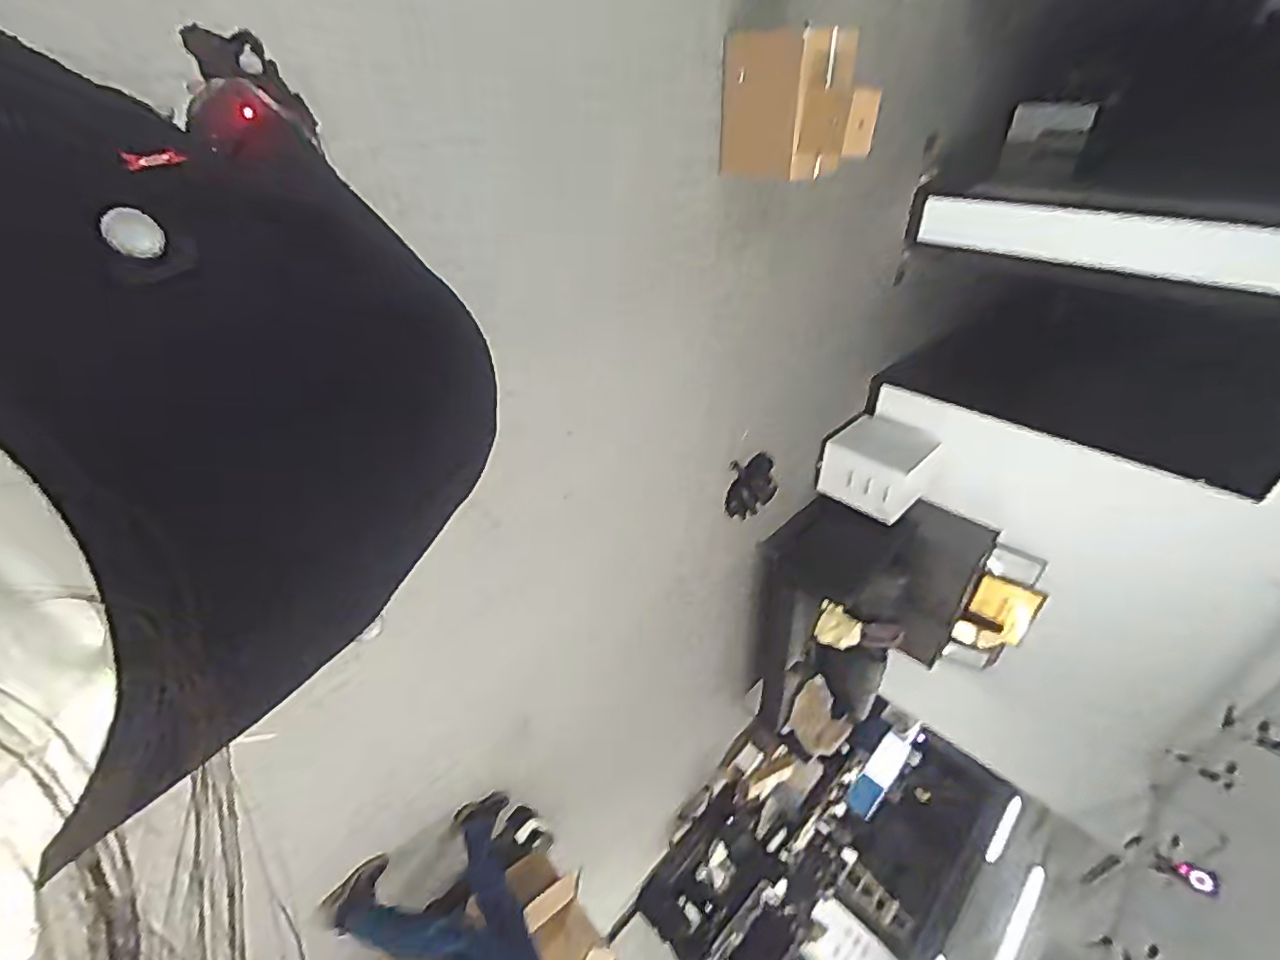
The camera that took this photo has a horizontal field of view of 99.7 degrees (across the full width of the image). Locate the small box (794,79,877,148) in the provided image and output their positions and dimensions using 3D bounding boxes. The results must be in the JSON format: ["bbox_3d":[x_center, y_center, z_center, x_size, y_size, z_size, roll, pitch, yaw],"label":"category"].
[{"bbox_3d":[0.615,-1.162,1.717,0.168,0.176,0.179,-26,133,-34],"label":"small box"}]
